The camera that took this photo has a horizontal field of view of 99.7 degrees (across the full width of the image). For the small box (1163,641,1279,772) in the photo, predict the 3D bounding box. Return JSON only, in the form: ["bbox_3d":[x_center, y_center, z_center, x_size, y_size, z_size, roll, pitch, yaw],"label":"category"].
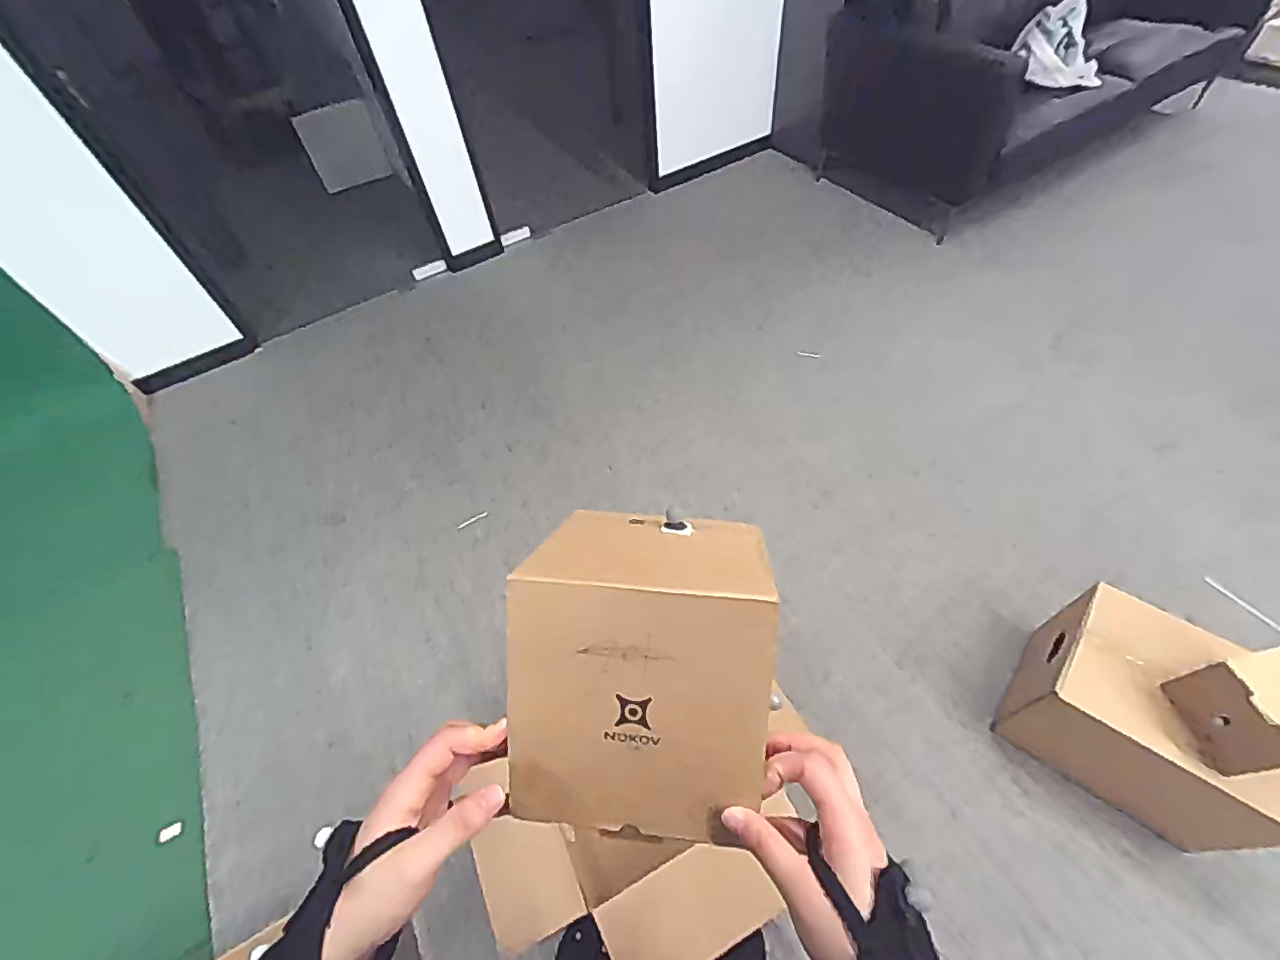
[{"bbox_3d":[1.090,0.399,0.951,0.179,0.176,0.168,-12,54,-1],"label":"small box"}]

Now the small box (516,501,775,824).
[{"bbox_3d":[0.009,0.124,0.430,0.168,0.179,0.176,3,11,7],"label":"small box"}]
